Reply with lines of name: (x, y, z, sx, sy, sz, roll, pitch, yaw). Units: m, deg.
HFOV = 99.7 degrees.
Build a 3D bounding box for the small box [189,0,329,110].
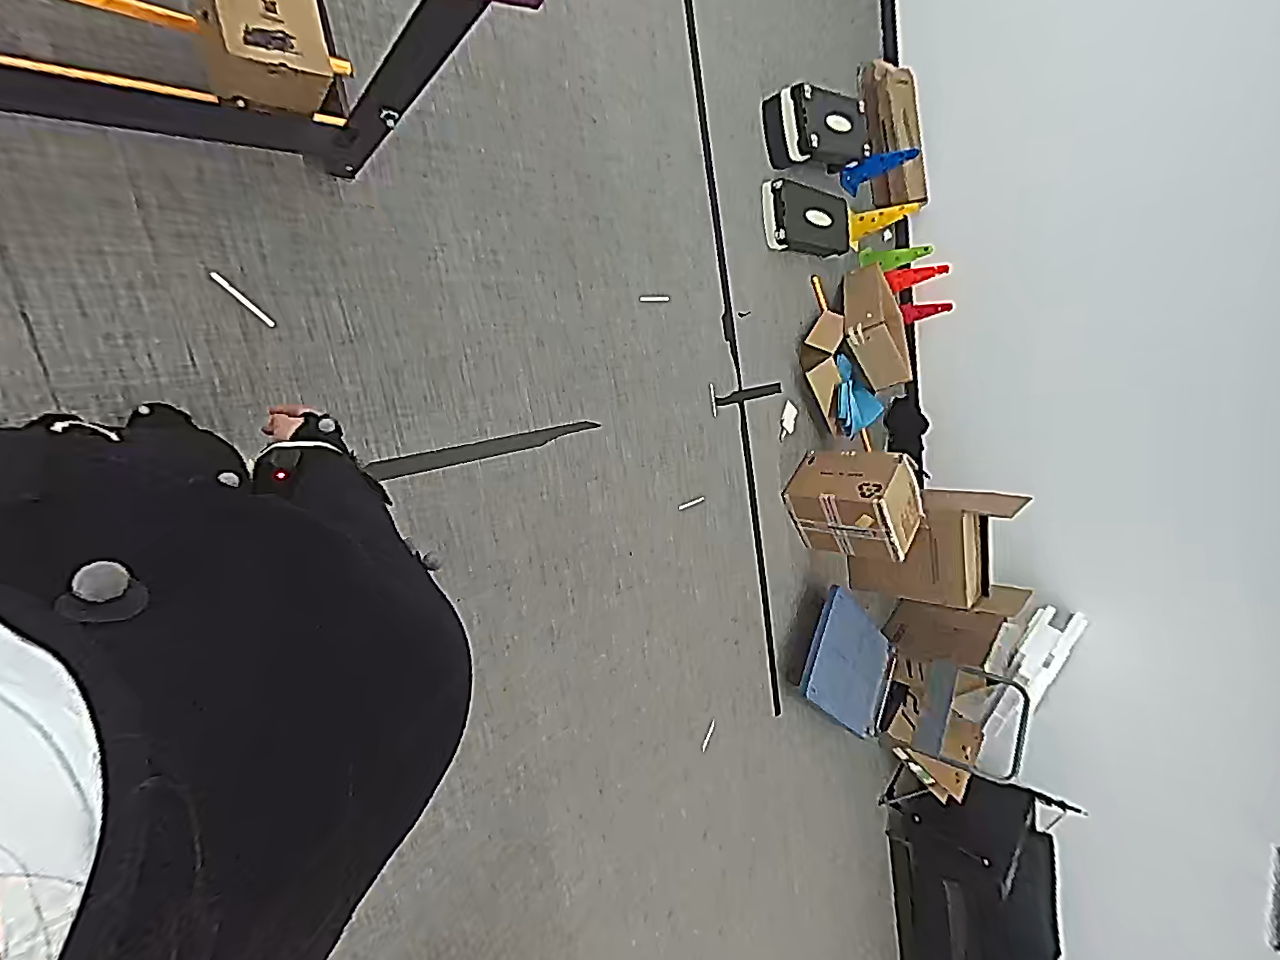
small box: (-0.692, -0.813, 0.981, 0.168, 0.176, 0.179, -18, 104, -42)
